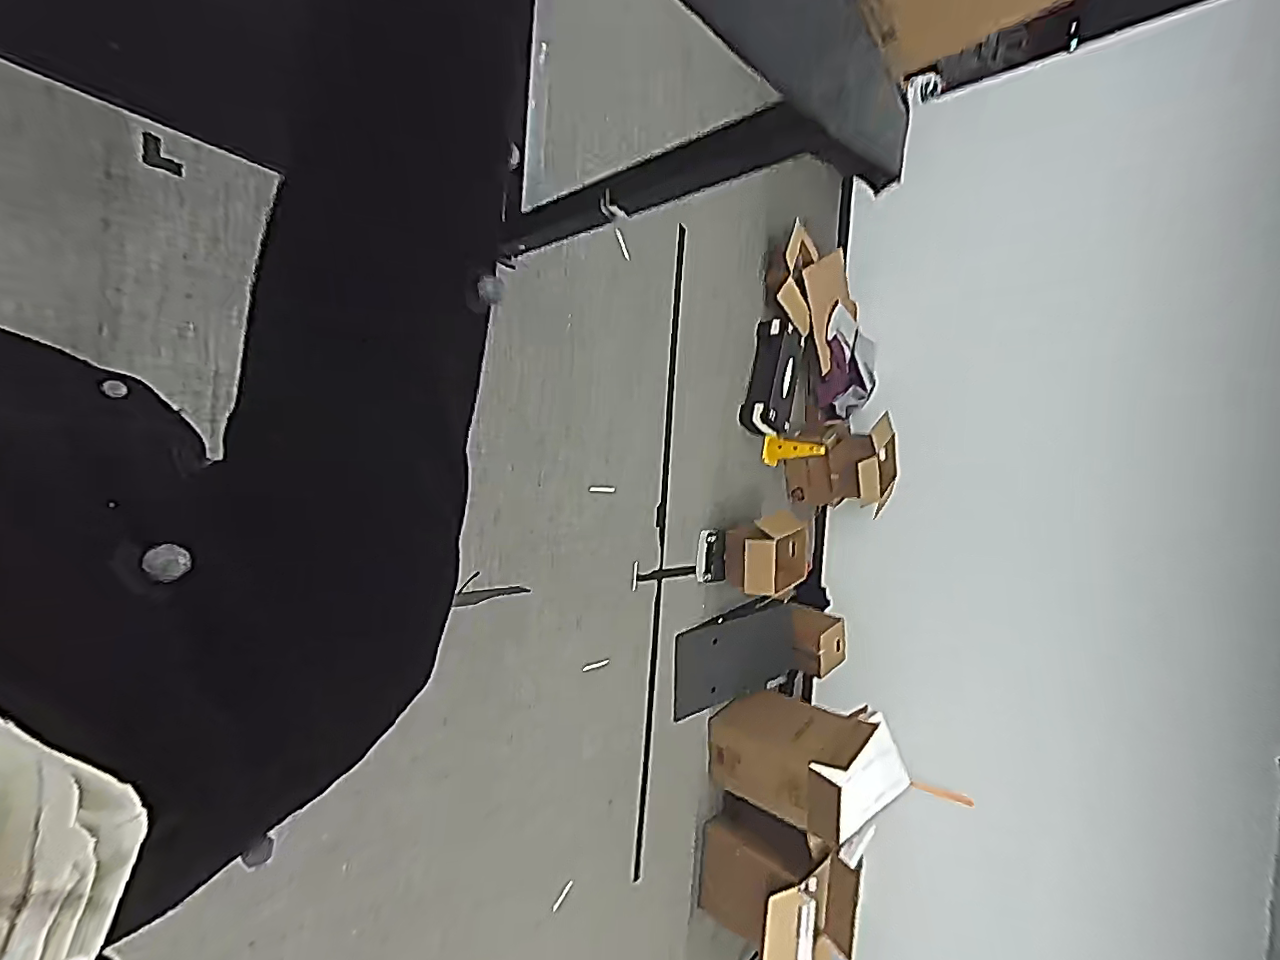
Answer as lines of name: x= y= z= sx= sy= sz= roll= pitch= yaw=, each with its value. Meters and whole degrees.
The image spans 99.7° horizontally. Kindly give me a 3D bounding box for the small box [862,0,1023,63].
small box: x=0.292 y=-0.542 z=0.492 sx=0.168 sy=0.176 sz=0.179 roll=7 pitch=85 yaw=-49
